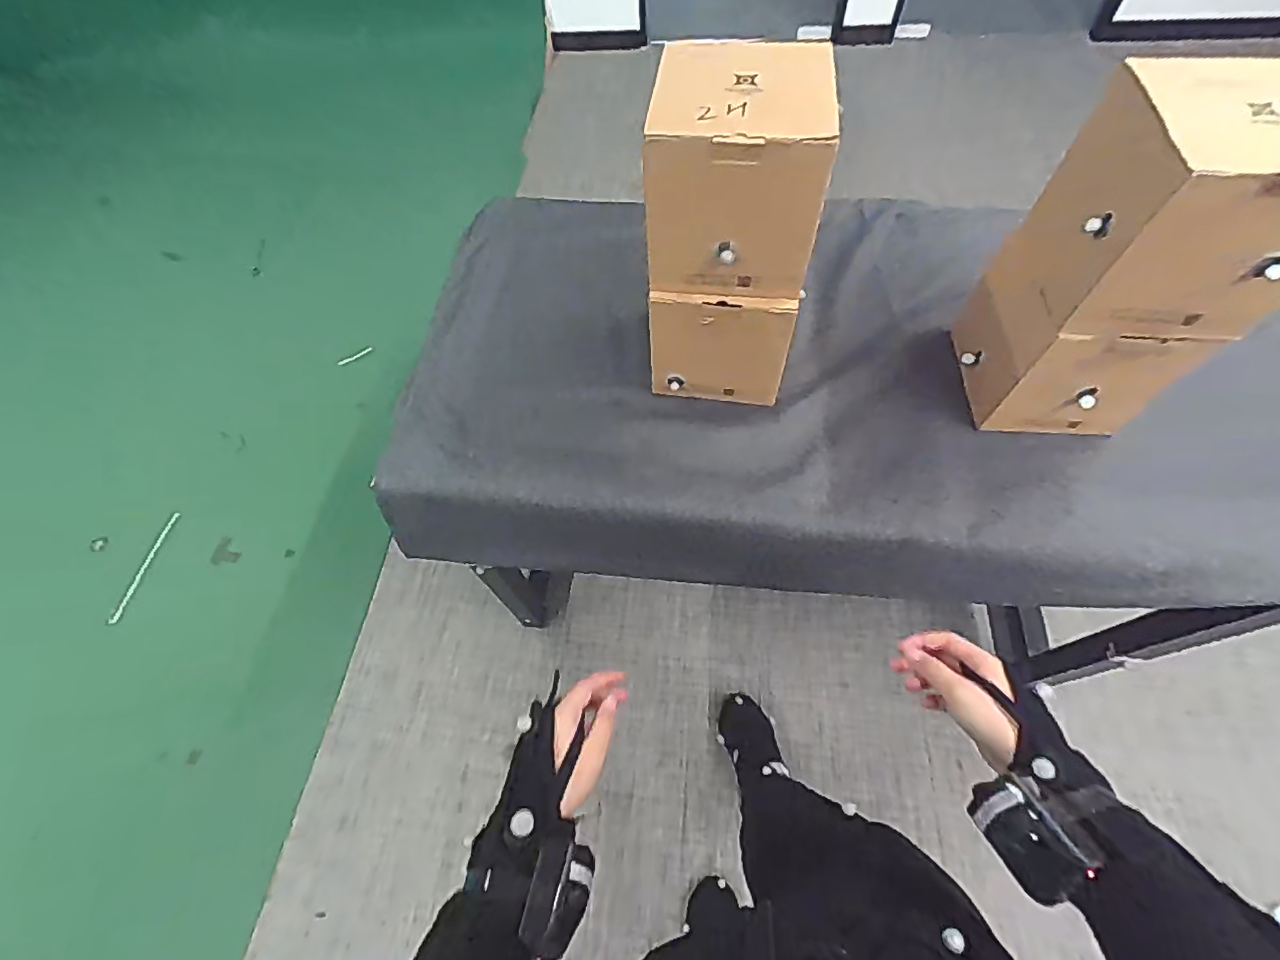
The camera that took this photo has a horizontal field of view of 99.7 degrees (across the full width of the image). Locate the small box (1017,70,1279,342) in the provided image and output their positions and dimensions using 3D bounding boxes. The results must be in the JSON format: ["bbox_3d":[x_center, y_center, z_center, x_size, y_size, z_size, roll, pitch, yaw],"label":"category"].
[{"bbox_3d":[0.501,-0.252,0.512,0.168,0.176,0.179,5,59,6],"label":"small box"}]

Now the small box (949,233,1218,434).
[{"bbox_3d":[0.506,-0.170,0.653,0.168,0.176,0.179,2,61,5],"label":"small box"}]

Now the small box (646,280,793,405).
[{"bbox_3d":[0.106,-0.219,0.706,0.168,0.176,0.179,7,60,7],"label":"small box"}]

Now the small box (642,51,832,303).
[{"bbox_3d":[0.097,-0.315,0.572,0.168,0.176,0.179,5,60,7],"label":"small box"}]
